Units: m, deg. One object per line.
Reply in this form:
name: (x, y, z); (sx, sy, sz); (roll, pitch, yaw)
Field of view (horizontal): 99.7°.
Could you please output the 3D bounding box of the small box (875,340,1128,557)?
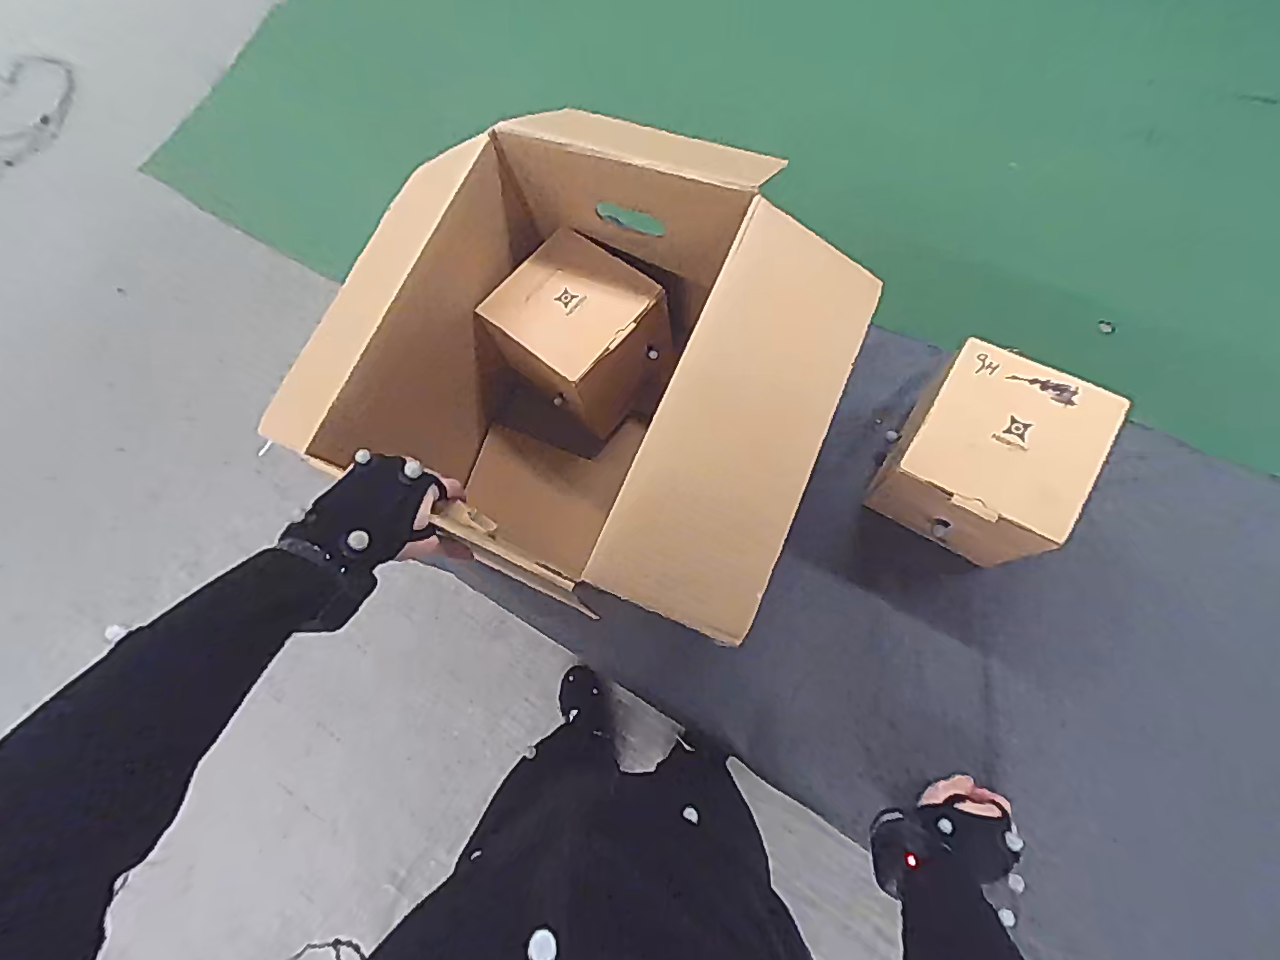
small box: (0.402, -0.025, 0.640); (0.168, 0.176, 0.179); (30, 82, 15)
